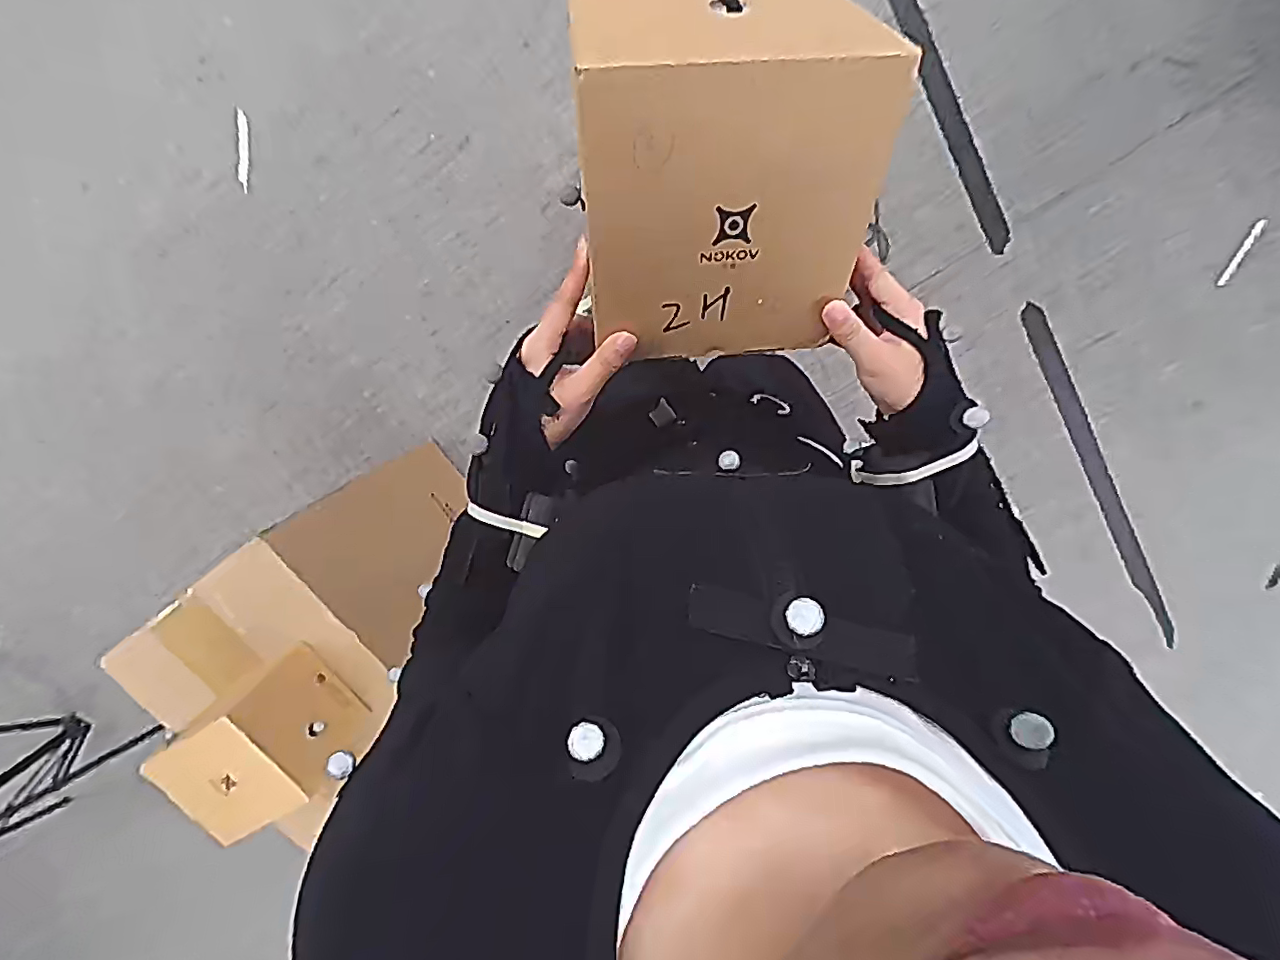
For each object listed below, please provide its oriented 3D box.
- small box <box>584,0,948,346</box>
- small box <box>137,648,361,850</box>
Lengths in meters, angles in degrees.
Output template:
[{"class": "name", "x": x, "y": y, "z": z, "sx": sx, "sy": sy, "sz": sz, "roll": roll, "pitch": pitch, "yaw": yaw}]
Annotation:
[{"class": "small box", "x": 0.052, "y": -0.212, "z": 0.354, "sx": 0.168, "sy": 0.176, "sz": 0.179, "roll": -4, "pitch": 142, "yaw": -4}, {"class": "small box", "x": -0.546, "y": 0.381, "z": 0.790, "sx": 0.179, "sy": 0.176, "sz": 0.168, "roll": -31, "pitch": 104, "yaw": 12}]
